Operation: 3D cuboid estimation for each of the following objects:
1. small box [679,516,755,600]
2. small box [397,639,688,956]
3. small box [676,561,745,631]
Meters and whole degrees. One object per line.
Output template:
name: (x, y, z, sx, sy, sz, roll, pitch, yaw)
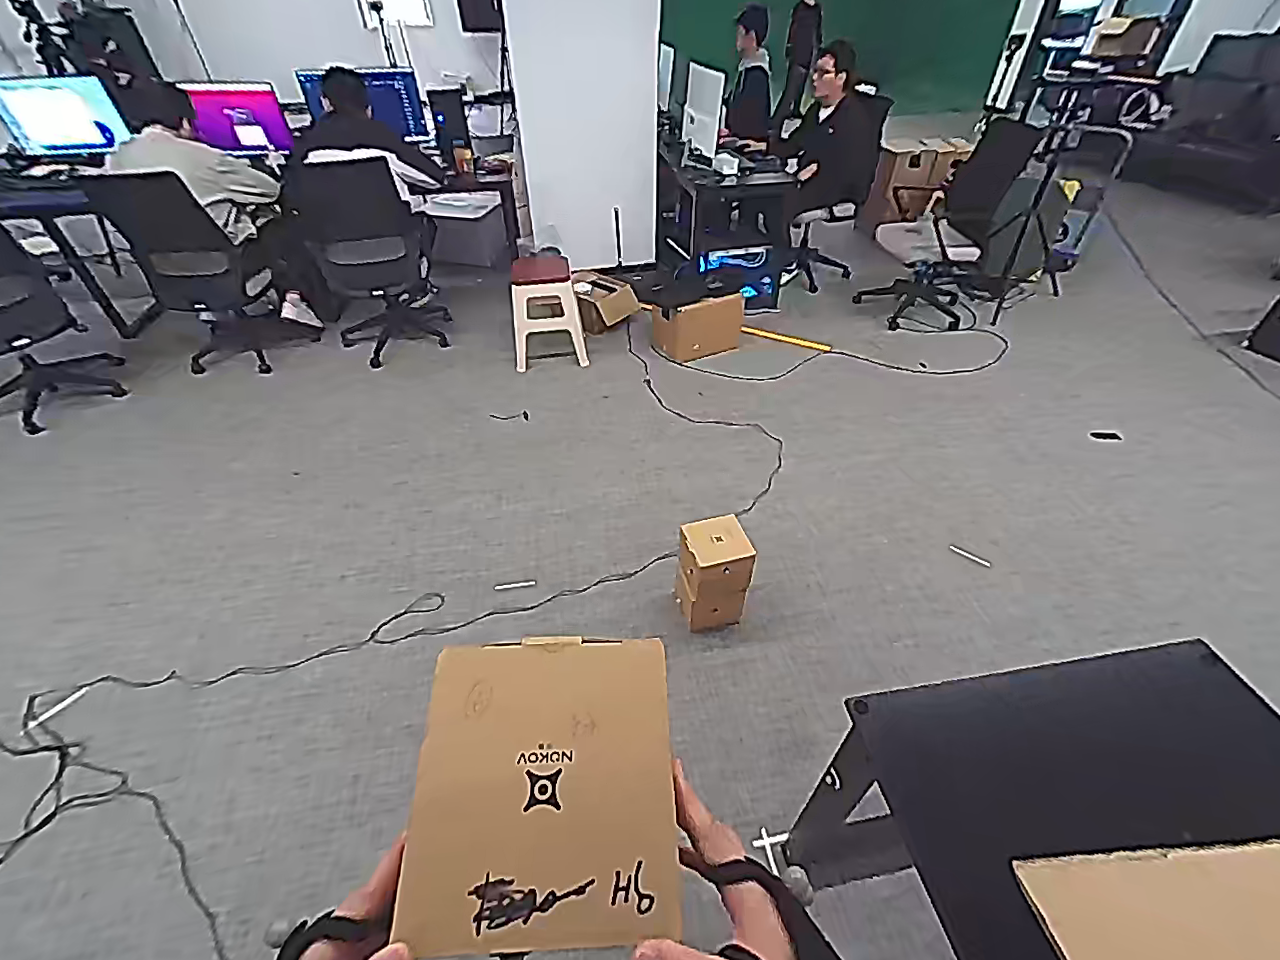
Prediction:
small box: (0.223, 0.237, 1.623, 0.179, 0.176, 0.168, -11, 44, -13)
small box: (-0.058, 0.237, 0.413, 0.168, 0.176, 0.179, -2, 54, -2)
small box: (0.219, 0.359, 1.730, 0.179, 0.176, 0.168, -10, 43, -9)
